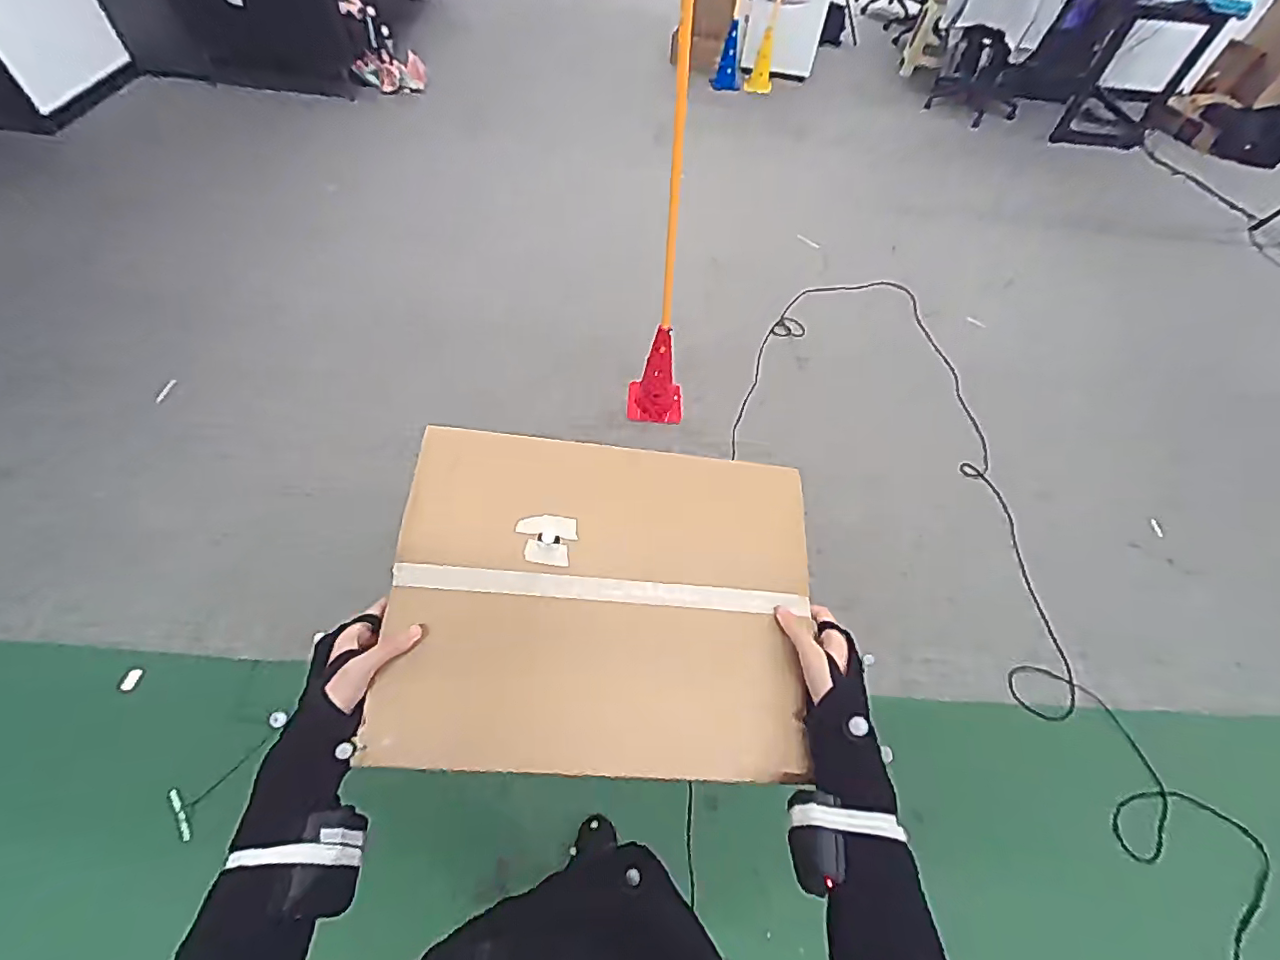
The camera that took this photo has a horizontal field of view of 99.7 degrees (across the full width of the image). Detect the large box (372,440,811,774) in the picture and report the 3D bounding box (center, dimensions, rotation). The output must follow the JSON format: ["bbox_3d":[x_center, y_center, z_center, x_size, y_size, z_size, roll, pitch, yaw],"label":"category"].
[{"bbox_3d":[-0.047,0.168,0.676,0.408,0.320,0.320,6,67,-6],"label":"large box"}]
